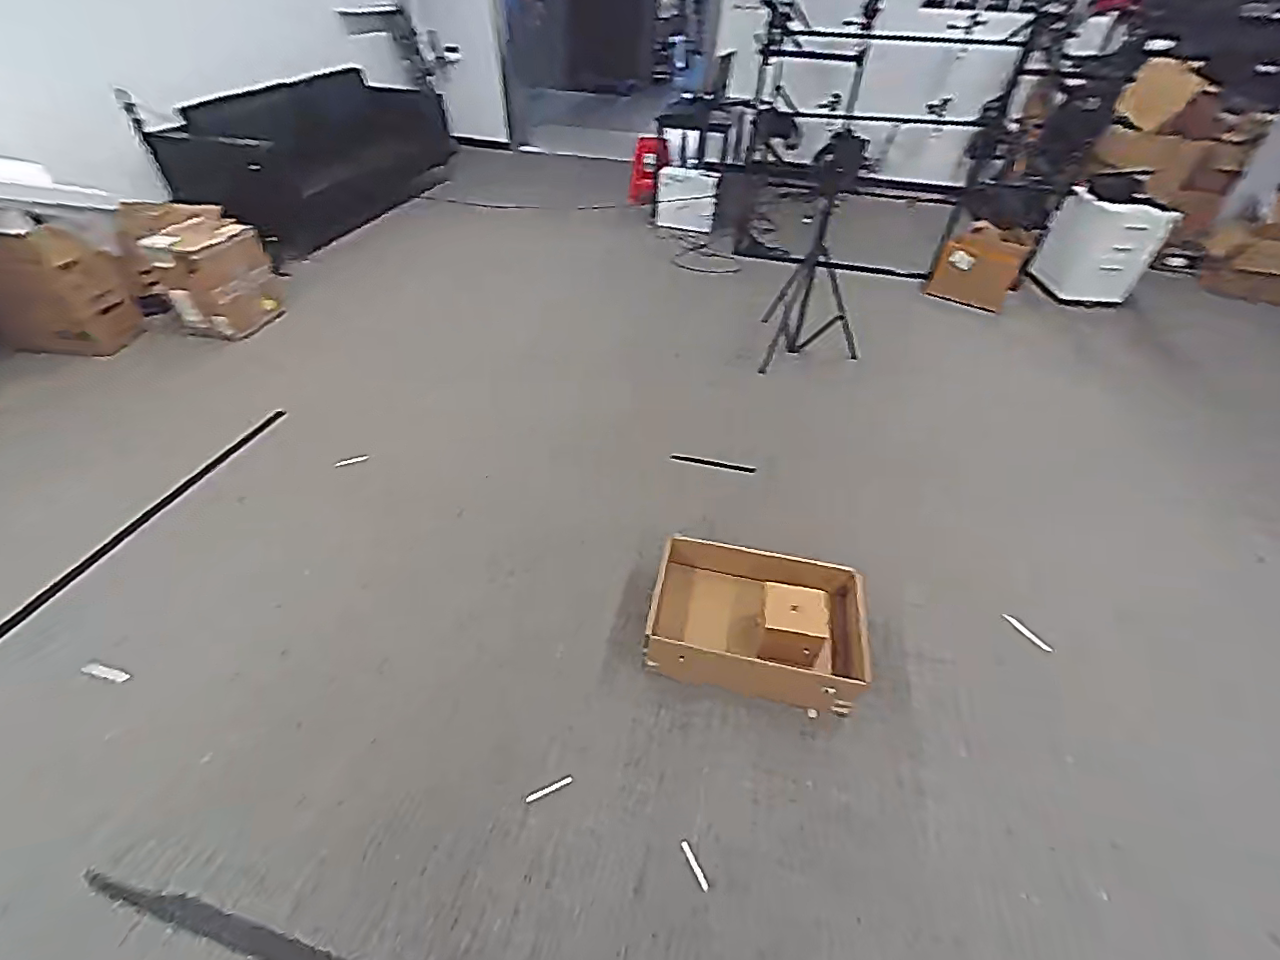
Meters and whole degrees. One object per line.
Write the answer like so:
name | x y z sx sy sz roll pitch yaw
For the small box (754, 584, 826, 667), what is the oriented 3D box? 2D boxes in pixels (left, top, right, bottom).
small box | 0.448 0.441 1.627 0.179 0.176 0.168 7 42 7
